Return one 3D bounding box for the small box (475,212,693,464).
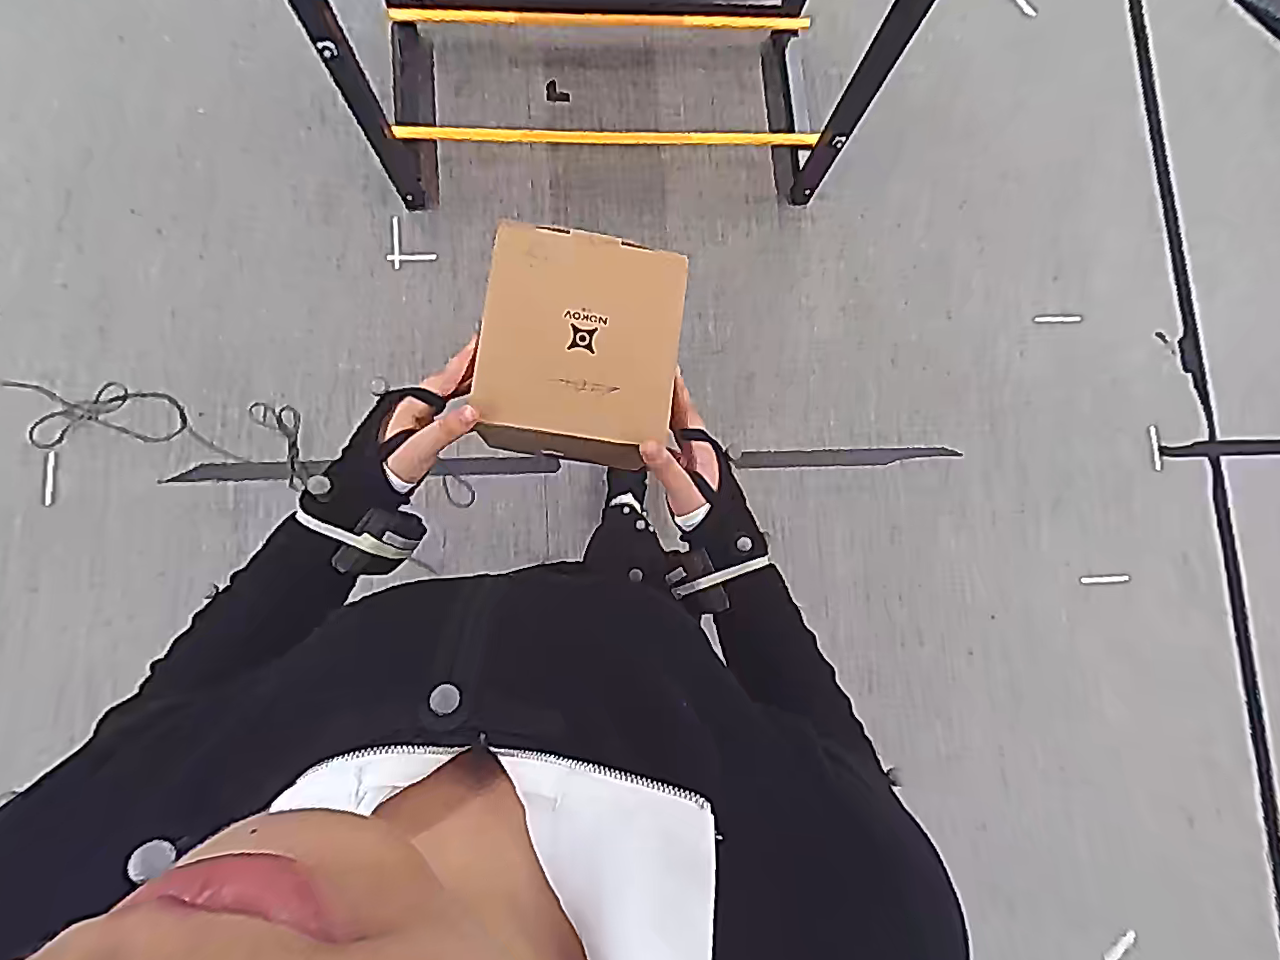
[{"bbox_3d":[-0.055,-0.121,0.533,0.168,0.176,0.179,8,84,-7],"label":"small box"}]
